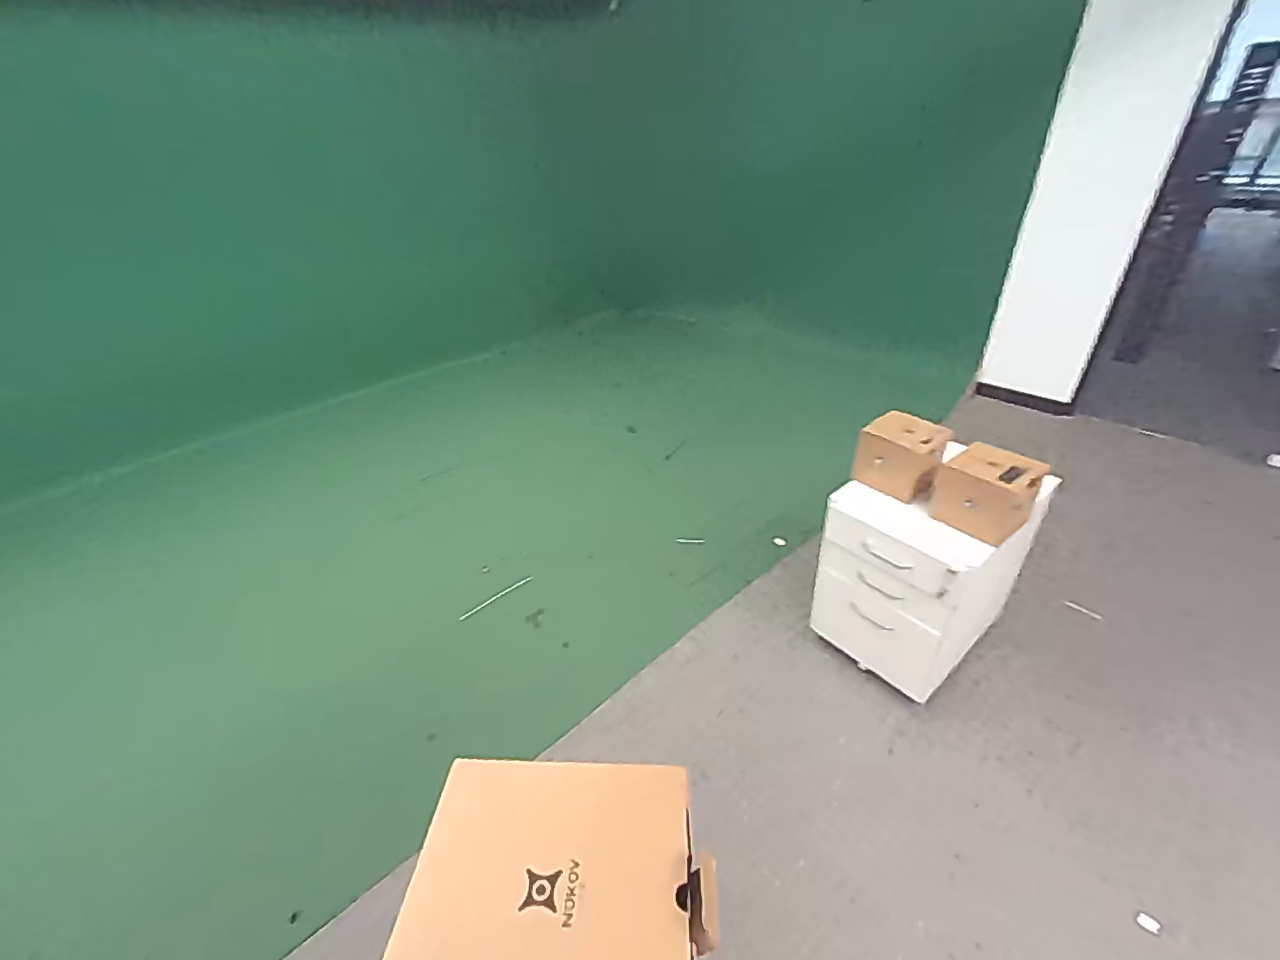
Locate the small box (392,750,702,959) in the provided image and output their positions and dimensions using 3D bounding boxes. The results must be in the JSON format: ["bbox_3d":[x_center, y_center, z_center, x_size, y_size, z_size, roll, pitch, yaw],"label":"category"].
[{"bbox_3d":[-0.048,0.316,0.373,0.179,0.176,0.168,1,30,3],"label":"small box"}]

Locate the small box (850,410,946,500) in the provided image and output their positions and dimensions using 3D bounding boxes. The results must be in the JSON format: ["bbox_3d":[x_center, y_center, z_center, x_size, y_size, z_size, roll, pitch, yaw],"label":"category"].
[{"bbox_3d":[0.714,-0.070,1.515,0.168,0.176,0.179,-28,42,-30],"label":"small box"}]
